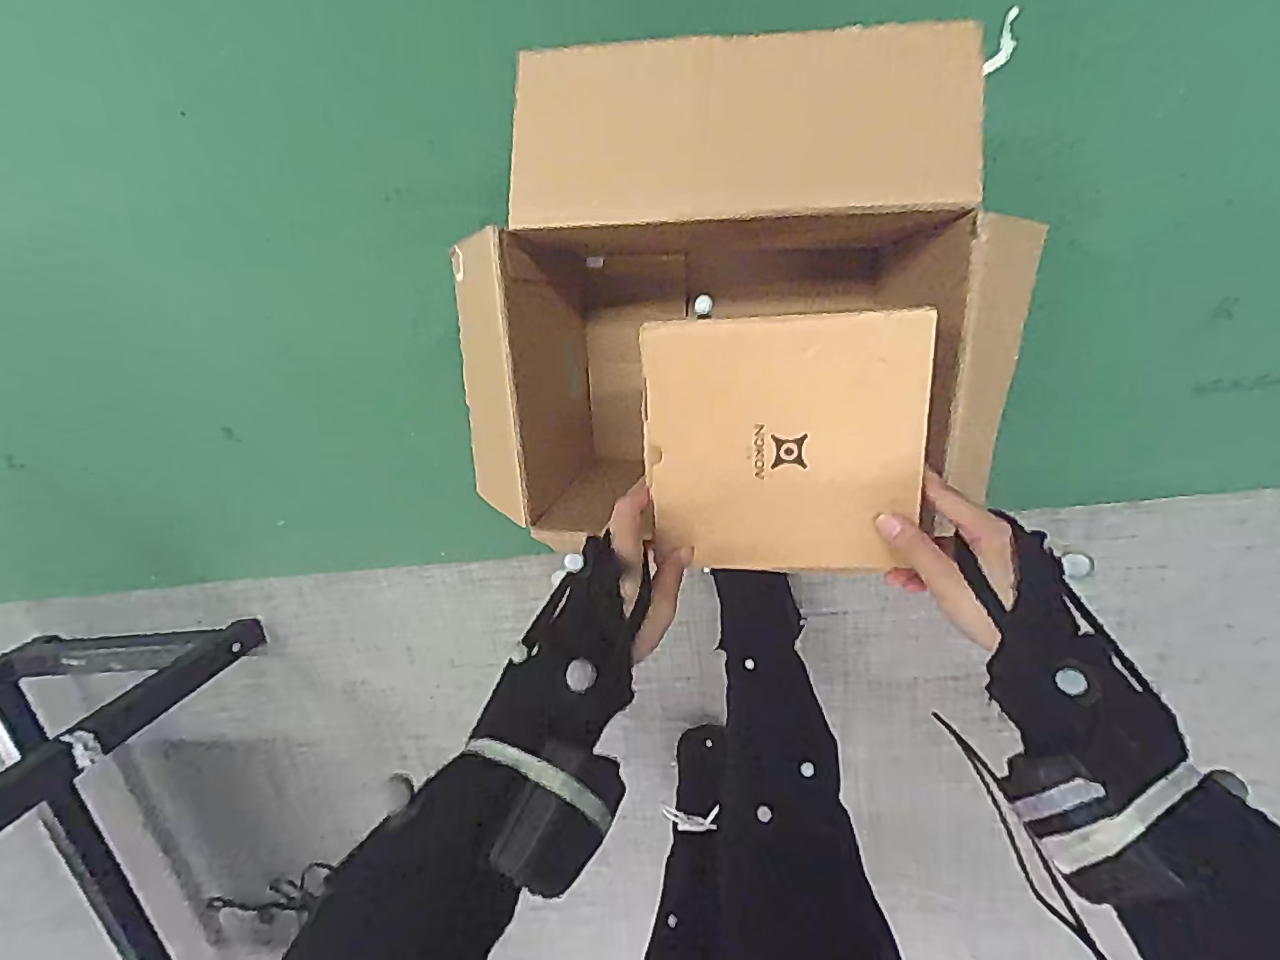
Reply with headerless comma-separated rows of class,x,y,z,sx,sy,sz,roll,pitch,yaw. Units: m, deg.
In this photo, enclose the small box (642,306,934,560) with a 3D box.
small box,0.100,-0.048,0.425,0.179,0.176,0.168,-1,106,8
